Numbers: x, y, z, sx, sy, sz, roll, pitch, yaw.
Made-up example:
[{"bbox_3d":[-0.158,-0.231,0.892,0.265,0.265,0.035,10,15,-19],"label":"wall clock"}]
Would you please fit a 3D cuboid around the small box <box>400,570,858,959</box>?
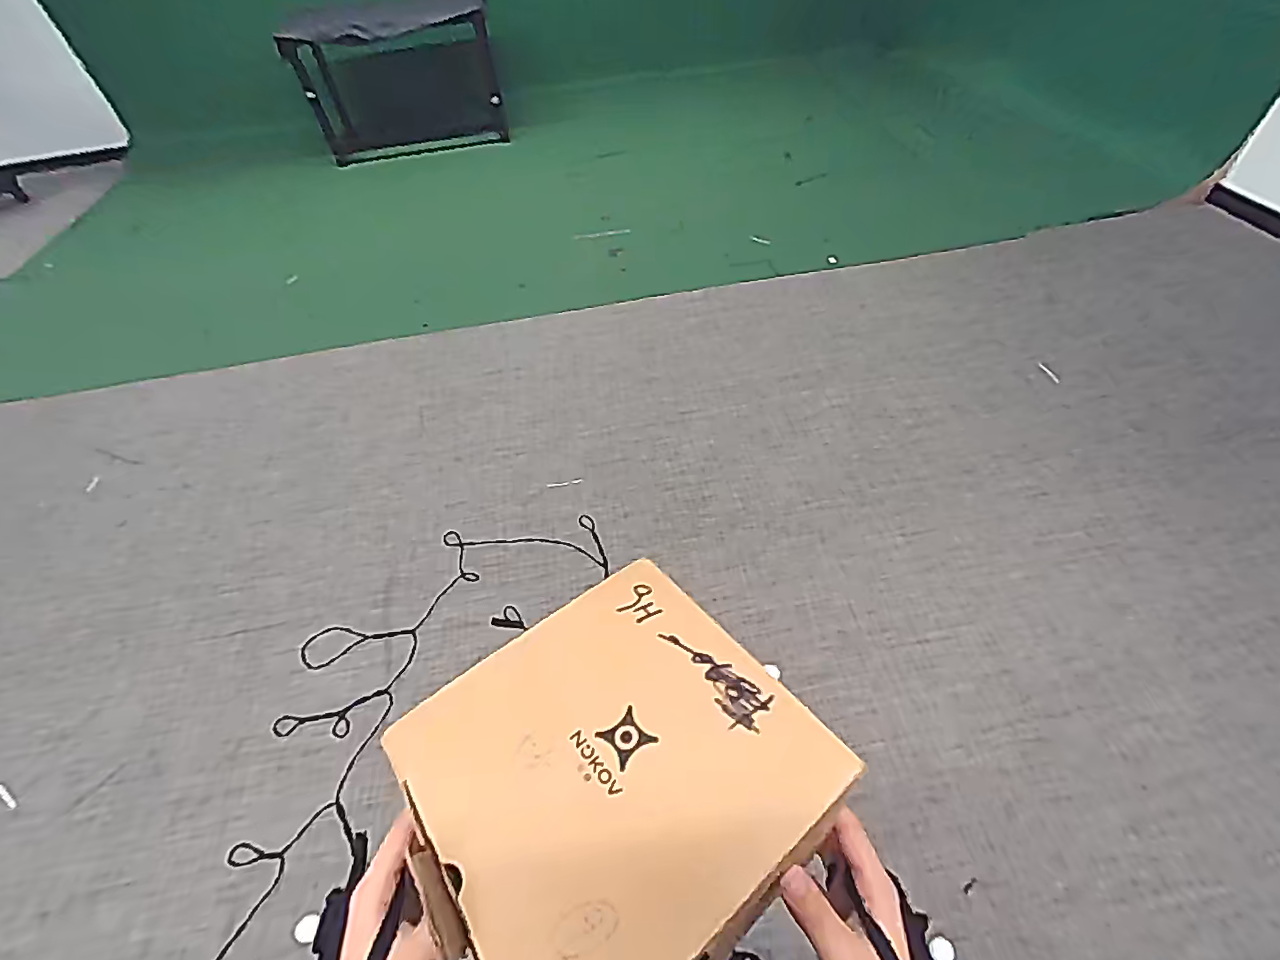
[{"bbox_3d":[-0.005,0.196,0.323,0.179,0.176,0.168,-30,49,-25],"label":"small box"}]
